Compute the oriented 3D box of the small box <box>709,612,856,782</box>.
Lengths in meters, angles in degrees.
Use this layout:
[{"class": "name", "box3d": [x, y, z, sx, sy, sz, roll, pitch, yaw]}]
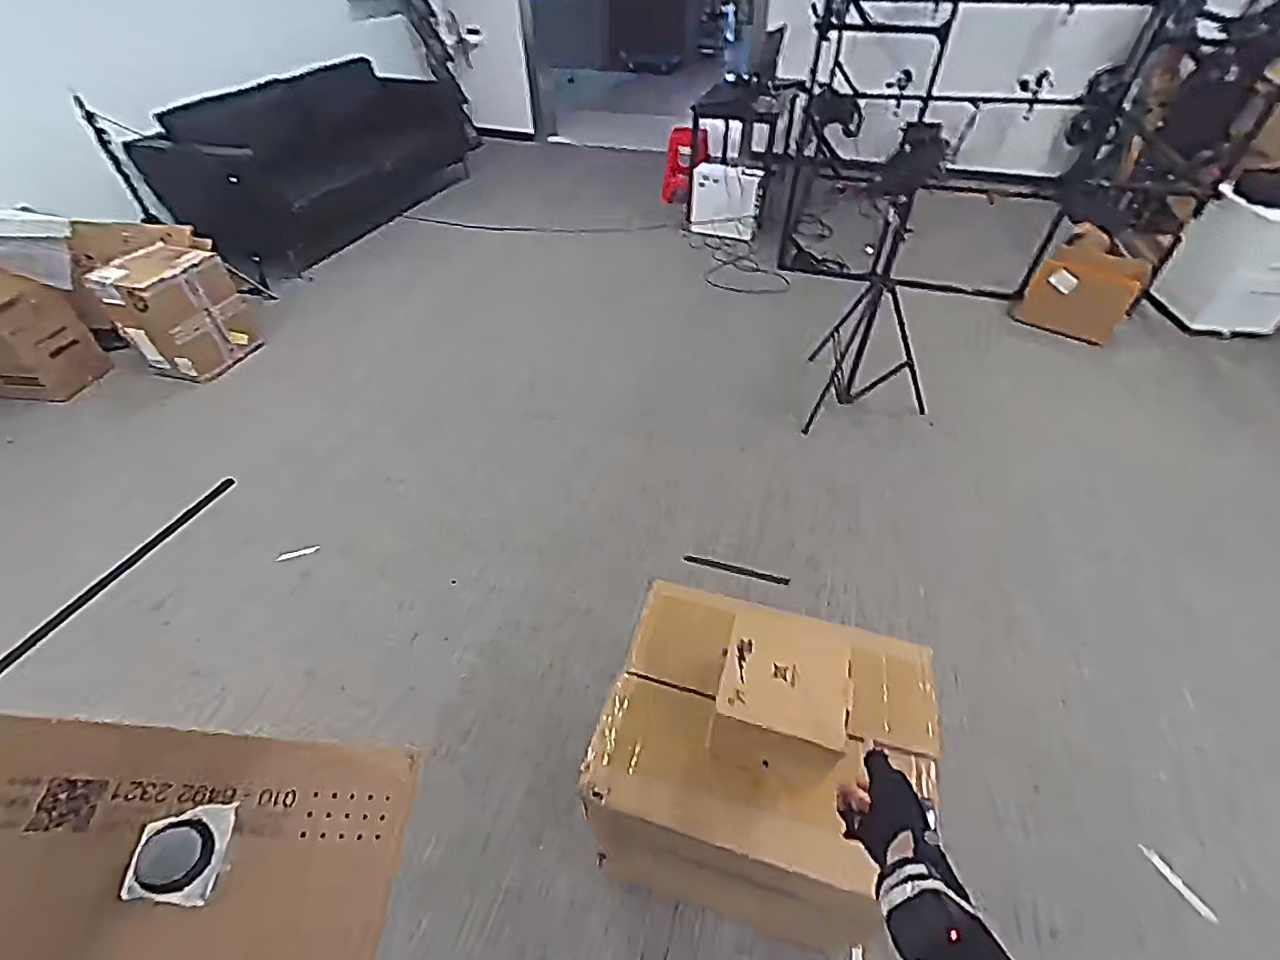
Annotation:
[{"class": "small box", "box3d": [0.212, 0.333, 0.823, 0.179, 0.176, 0.168, 13, 47, 13]}]
